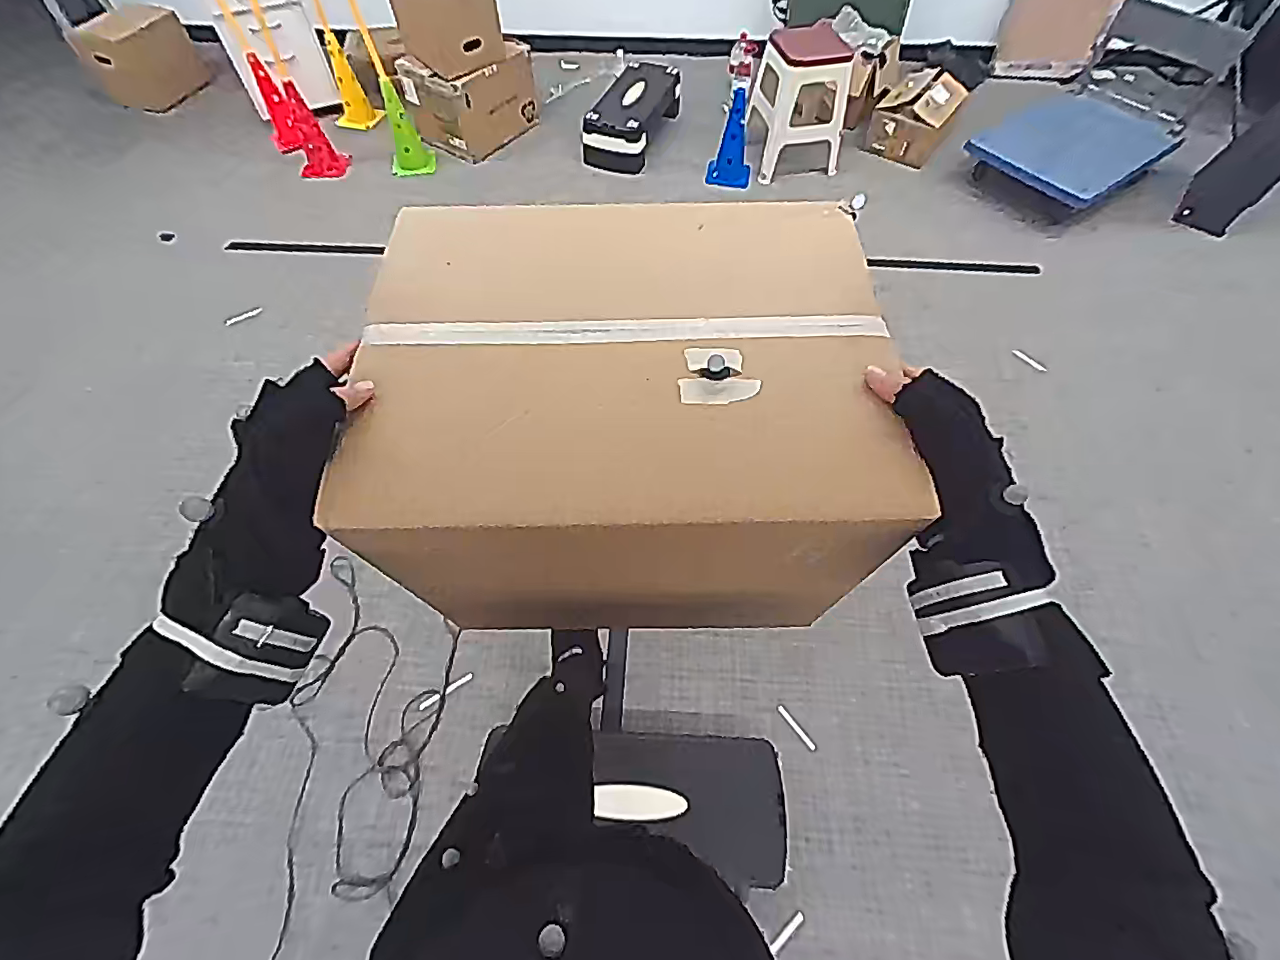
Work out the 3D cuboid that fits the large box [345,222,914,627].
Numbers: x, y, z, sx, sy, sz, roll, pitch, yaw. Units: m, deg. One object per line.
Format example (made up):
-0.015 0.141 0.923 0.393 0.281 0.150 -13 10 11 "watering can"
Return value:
-0.011 -0.038 0.572 0.408 0.320 0.320 0 62 0 "large box"
